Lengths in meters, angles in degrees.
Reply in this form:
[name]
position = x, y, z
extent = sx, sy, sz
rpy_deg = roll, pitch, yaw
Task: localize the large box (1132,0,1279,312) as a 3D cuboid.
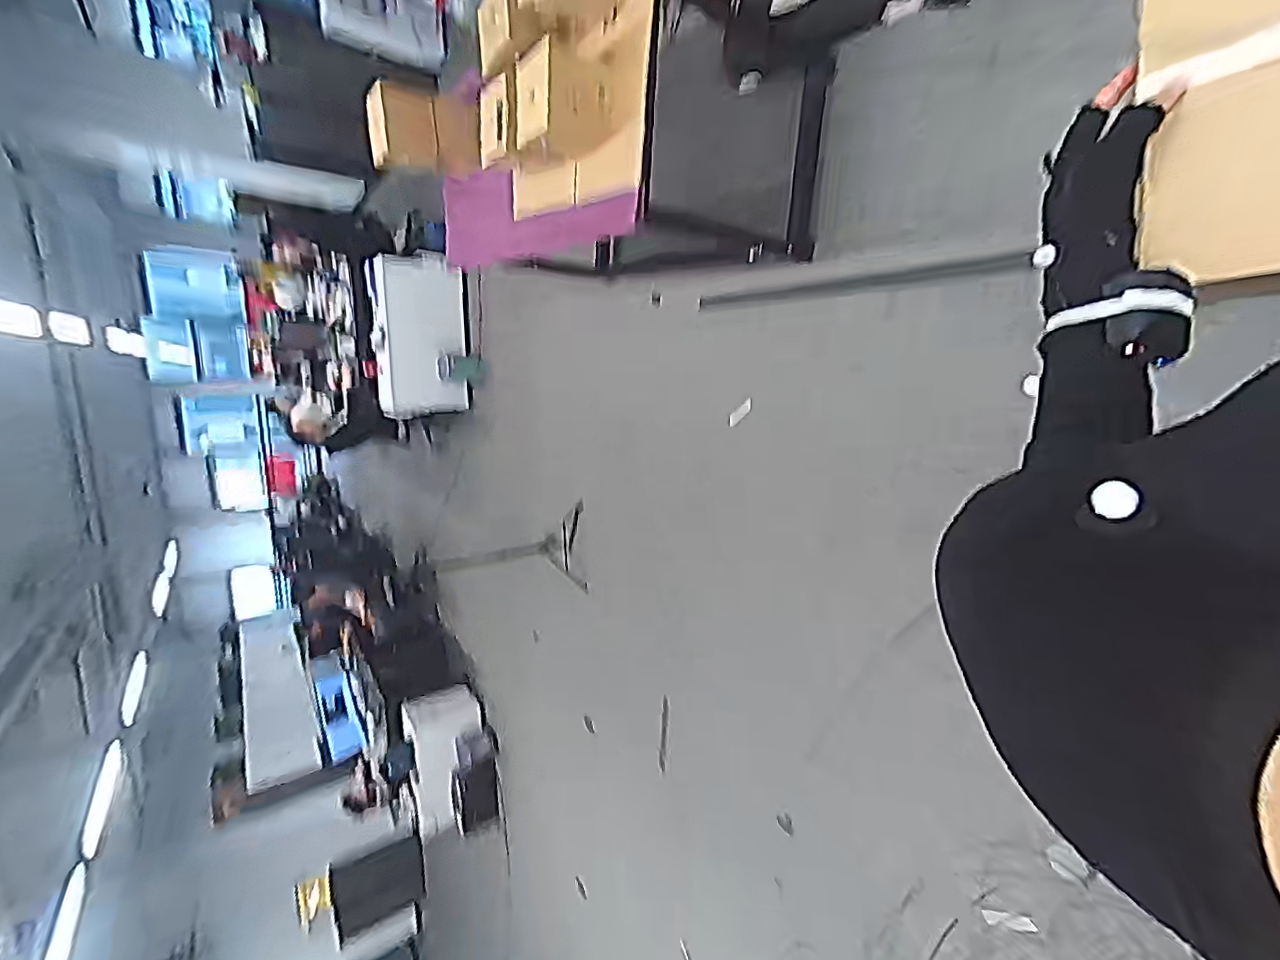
[large box]
position = 0.651, -0.322, 0.390
extent = 0.408, 0.320, 0.320
rpy_deg = 5, 103, 50
